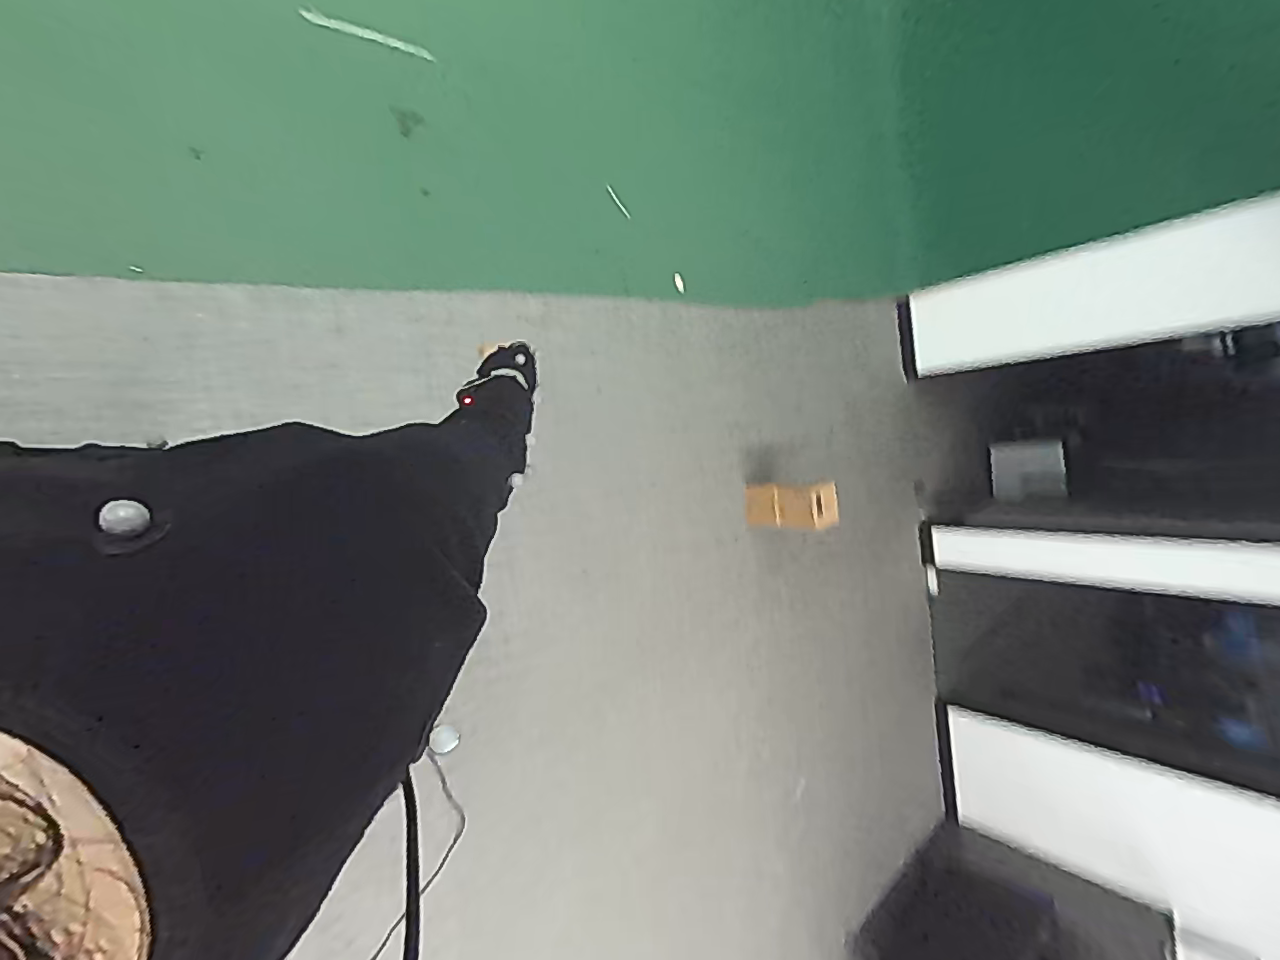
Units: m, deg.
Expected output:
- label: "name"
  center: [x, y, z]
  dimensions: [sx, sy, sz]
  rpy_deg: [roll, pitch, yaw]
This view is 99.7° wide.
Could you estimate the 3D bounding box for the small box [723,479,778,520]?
- label: "small box"
  center: [0.488, 0.081, 2.384]
  dimensions: [0.179, 0.176, 0.168]
  rpy_deg: [-6, 94, -41]
